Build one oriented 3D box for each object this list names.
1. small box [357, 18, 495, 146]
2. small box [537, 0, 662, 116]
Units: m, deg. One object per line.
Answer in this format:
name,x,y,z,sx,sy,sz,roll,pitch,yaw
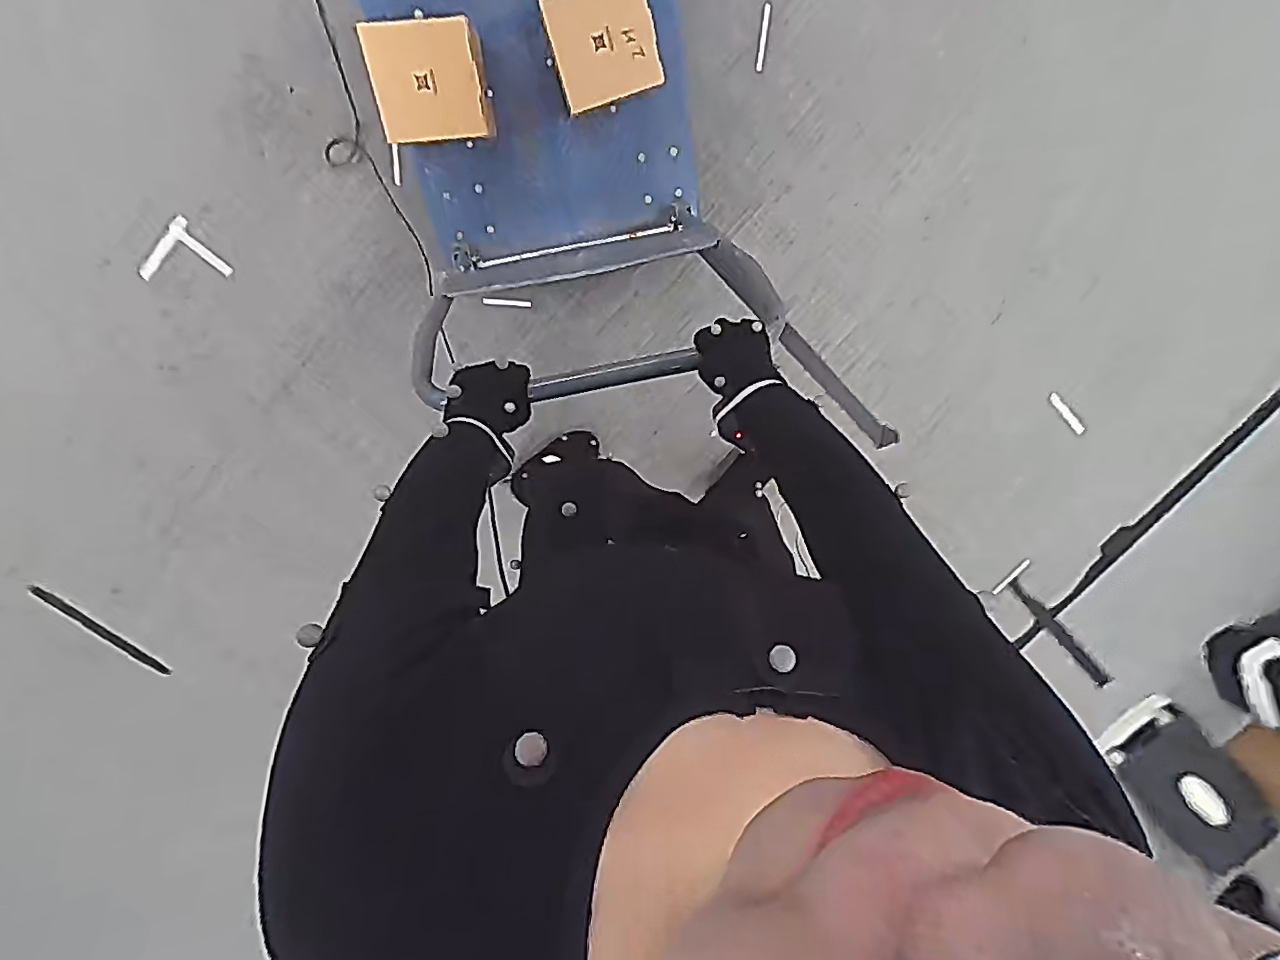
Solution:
small box,-0.371,-0.705,0.975,0.179,0.176,0.168,-9,122,-5
small box,-0.071,-0.777,0.974,0.179,0.176,0.168,-17,123,3
